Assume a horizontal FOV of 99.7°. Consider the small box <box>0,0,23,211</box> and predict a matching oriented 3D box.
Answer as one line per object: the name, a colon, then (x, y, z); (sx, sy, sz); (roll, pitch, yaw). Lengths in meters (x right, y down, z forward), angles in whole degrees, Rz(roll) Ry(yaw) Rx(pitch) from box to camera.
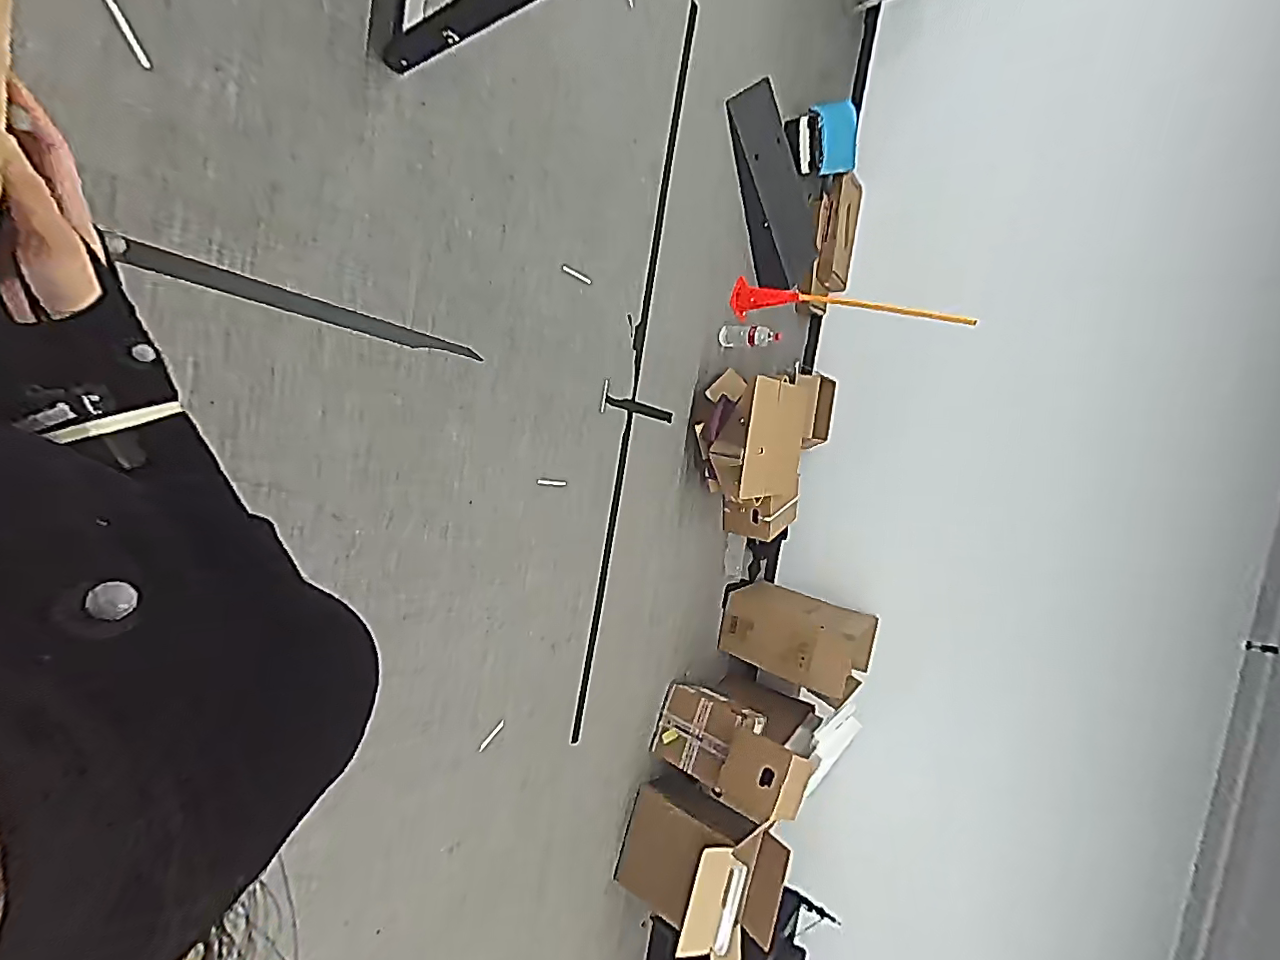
small box: (-0.429, -0.212, 0.254); (0.168, 0.176, 0.179); (5, 80, -56)
